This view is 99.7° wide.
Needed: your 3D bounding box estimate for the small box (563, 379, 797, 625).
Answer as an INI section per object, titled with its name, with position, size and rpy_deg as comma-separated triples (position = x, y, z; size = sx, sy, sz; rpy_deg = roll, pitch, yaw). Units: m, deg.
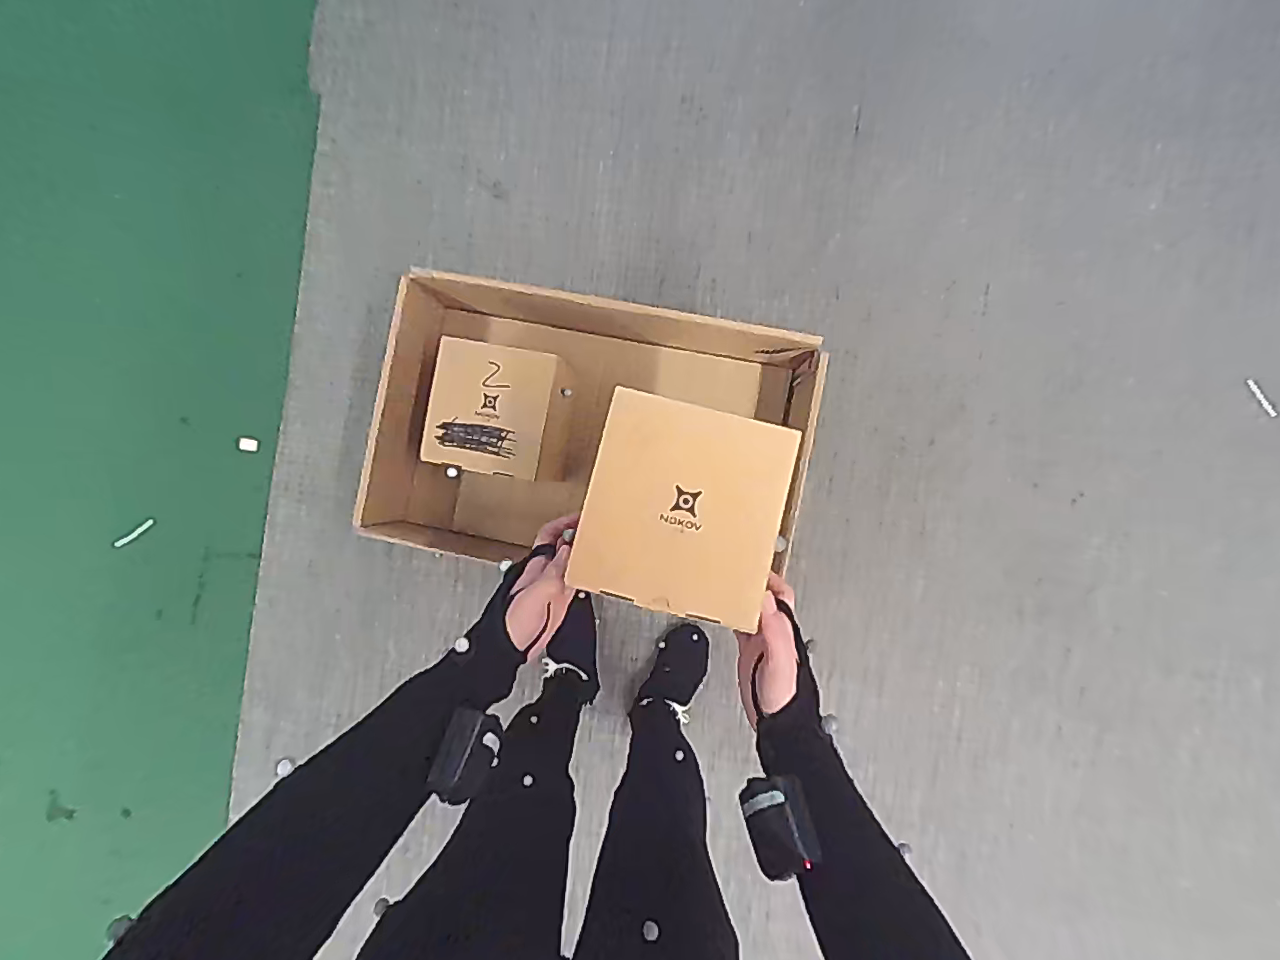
[small box]
position = 0.033, 0.024, 0.528
size = 0.168, 0.176, 0.179
rpy_deg = 14, 85, 1
